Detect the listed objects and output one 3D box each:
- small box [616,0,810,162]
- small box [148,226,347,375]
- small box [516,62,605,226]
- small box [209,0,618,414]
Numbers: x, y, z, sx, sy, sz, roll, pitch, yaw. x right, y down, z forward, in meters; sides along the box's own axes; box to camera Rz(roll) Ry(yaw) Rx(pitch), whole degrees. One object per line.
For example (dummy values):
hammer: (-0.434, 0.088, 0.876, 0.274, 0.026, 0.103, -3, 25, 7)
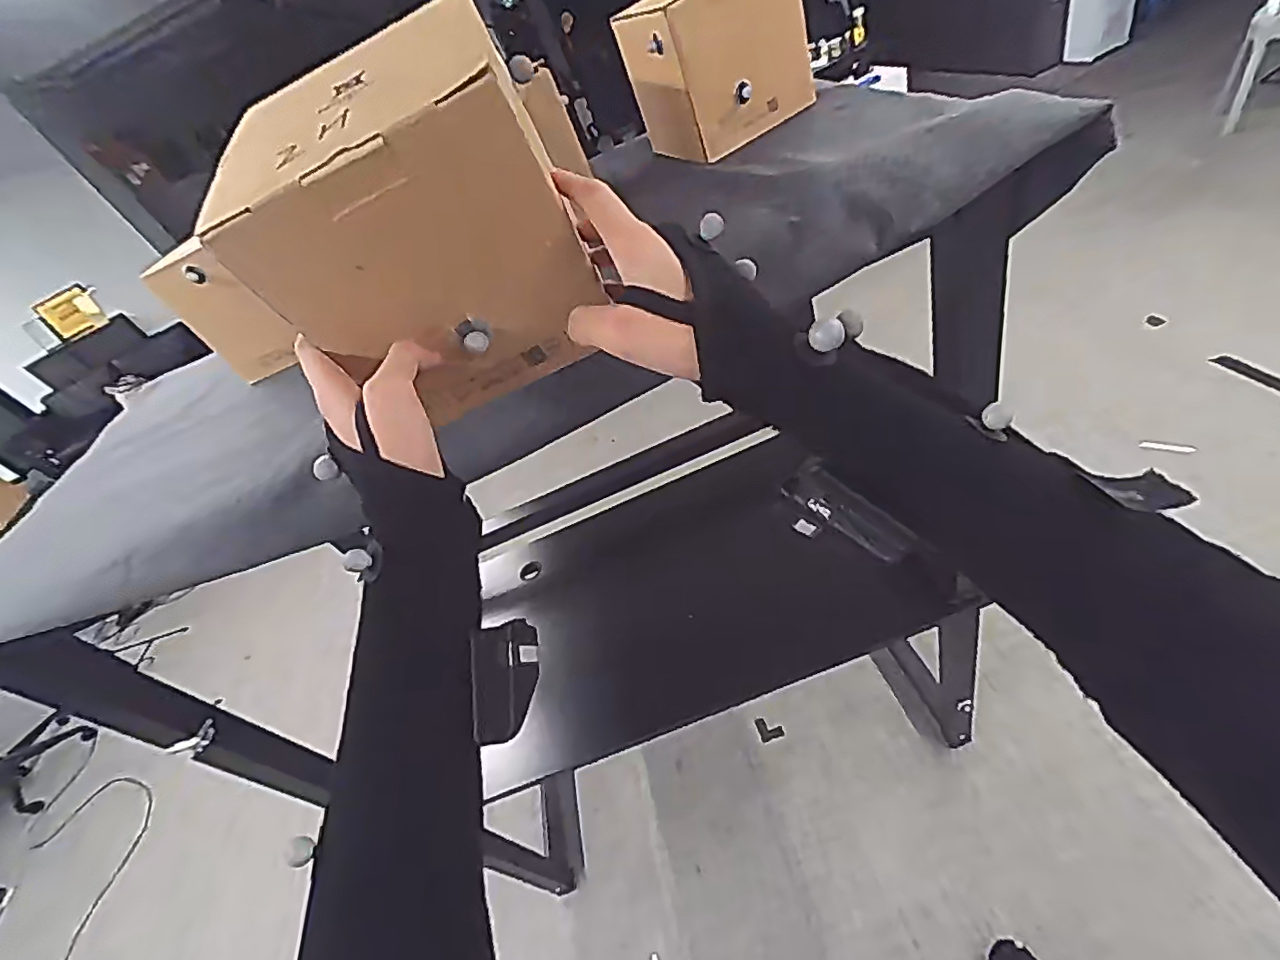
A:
small box: (0.095, -0.541, 0.702, 0.168, 0.176, 0.179, -32, 42, -3)
small box: (-0.510, -0.278, 0.763, 0.168, 0.176, 0.179, -20, 40, 8)
small box: (-0.160, -0.410, 0.709, 0.168, 0.176, 0.179, -25, 39, 3)
small box: (-0.132, -0.178, 0.368, 0.168, 0.176, 0.179, -24, 54, 6)
